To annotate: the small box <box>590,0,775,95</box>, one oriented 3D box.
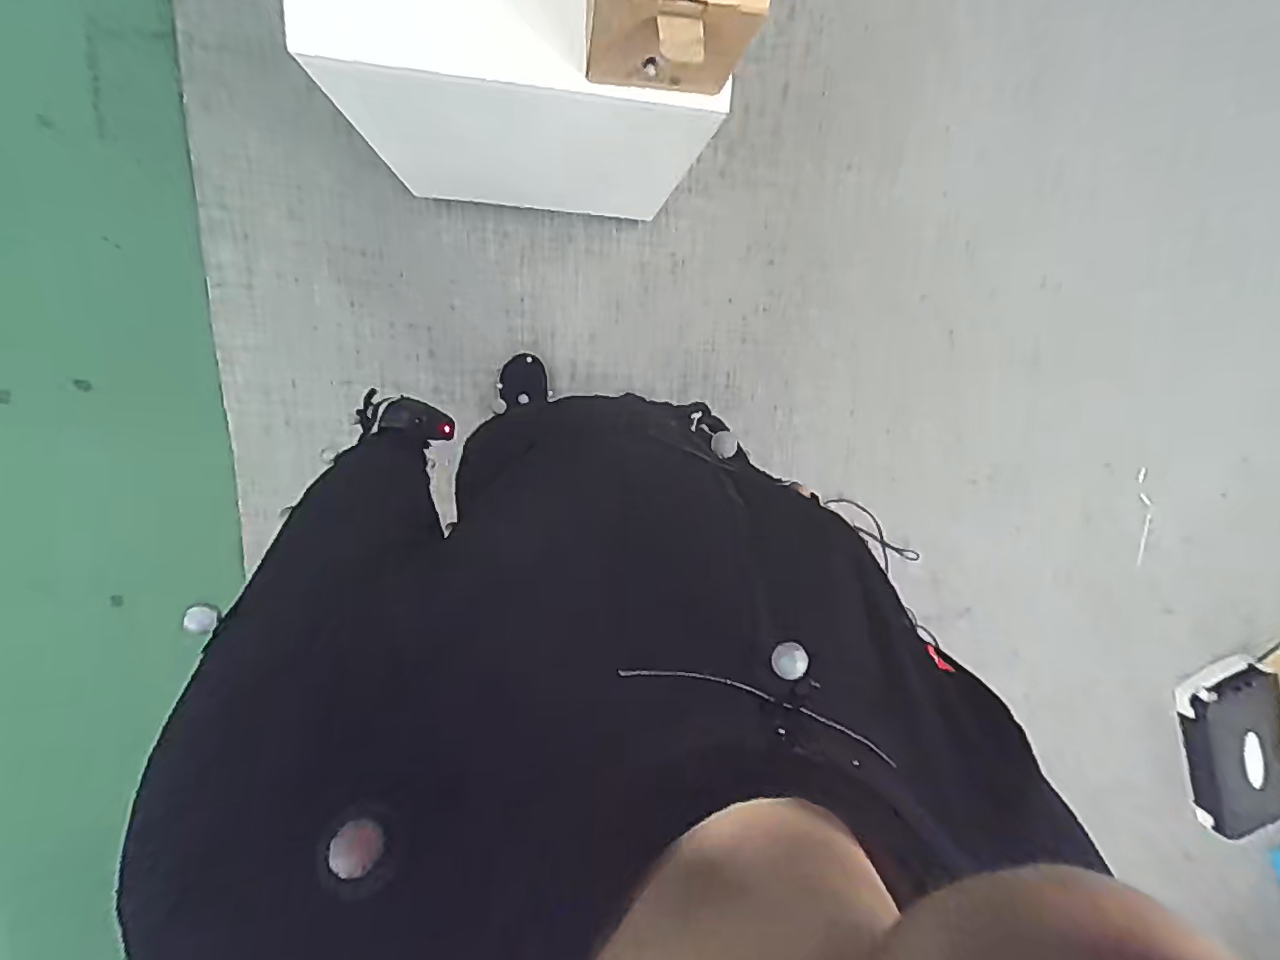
[{"bbox_3d":[0.036,-0.540,0.555,0.168,0.176,0.179,0,102,-9],"label":"small box"}]
